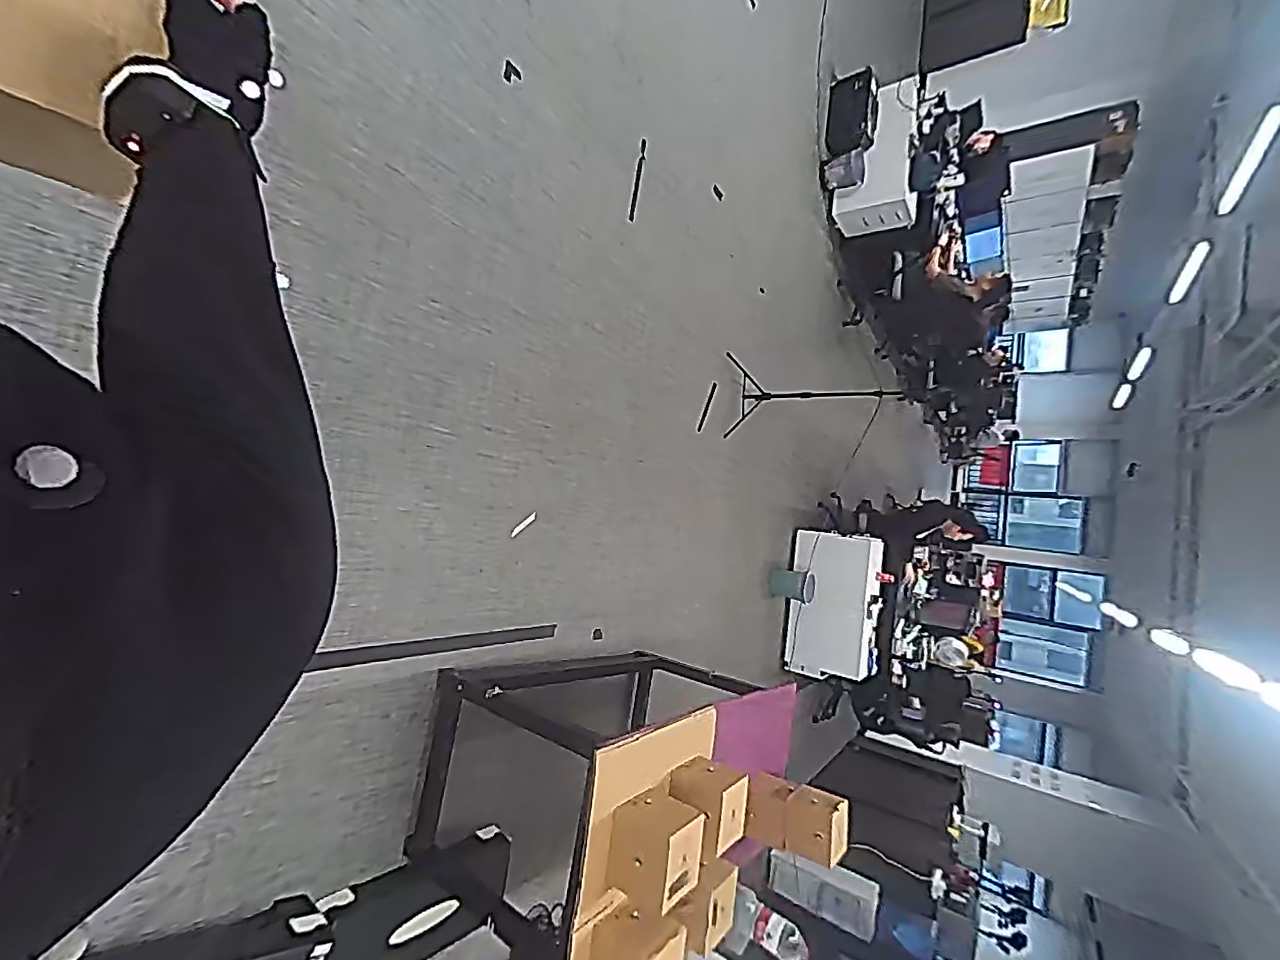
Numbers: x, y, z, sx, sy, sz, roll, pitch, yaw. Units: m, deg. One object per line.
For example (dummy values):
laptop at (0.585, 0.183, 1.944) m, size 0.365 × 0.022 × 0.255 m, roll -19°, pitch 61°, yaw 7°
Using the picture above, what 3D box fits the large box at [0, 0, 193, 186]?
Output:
large box at (-0.619, -0.474, 0.401) m, size 0.408 × 0.320 × 0.320 m, roll 4°, pitch 98°, yaw -53°
